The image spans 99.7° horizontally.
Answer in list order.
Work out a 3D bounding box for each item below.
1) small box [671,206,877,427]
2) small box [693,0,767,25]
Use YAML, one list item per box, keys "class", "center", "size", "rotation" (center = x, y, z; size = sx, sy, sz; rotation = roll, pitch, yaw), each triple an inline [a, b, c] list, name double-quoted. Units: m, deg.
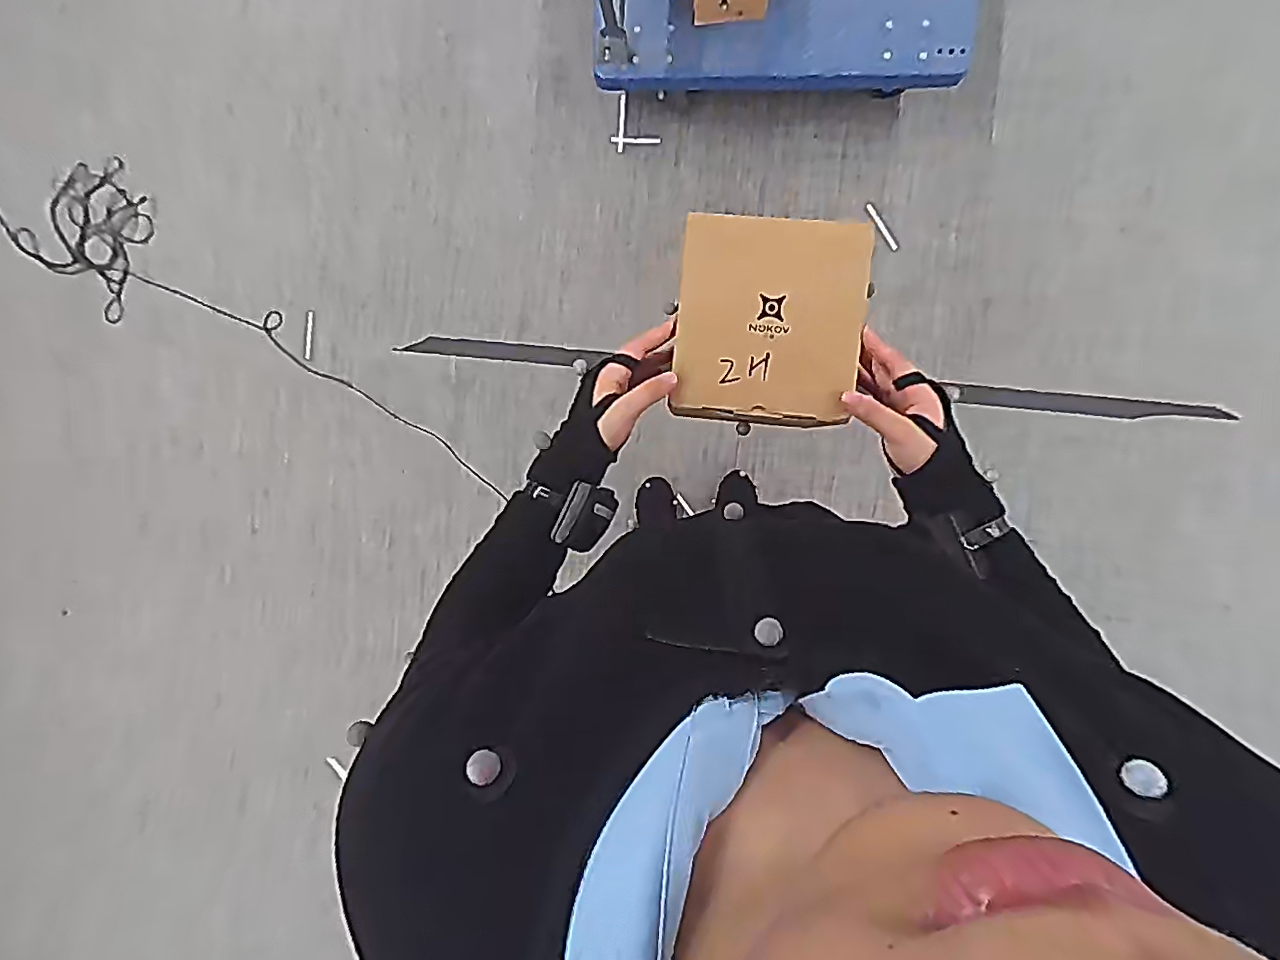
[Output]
- class: "small box"
  center: [0.123, -0.152, 0.556]
  size: [0.168, 0.176, 0.179]
  rotation: [6, 94, 5]
- class: "small box"
  center: [0.199, -1.150, 1.179]
  size: [0.168, 0.176, 0.179]
  rotation: [0, 93, 5]
